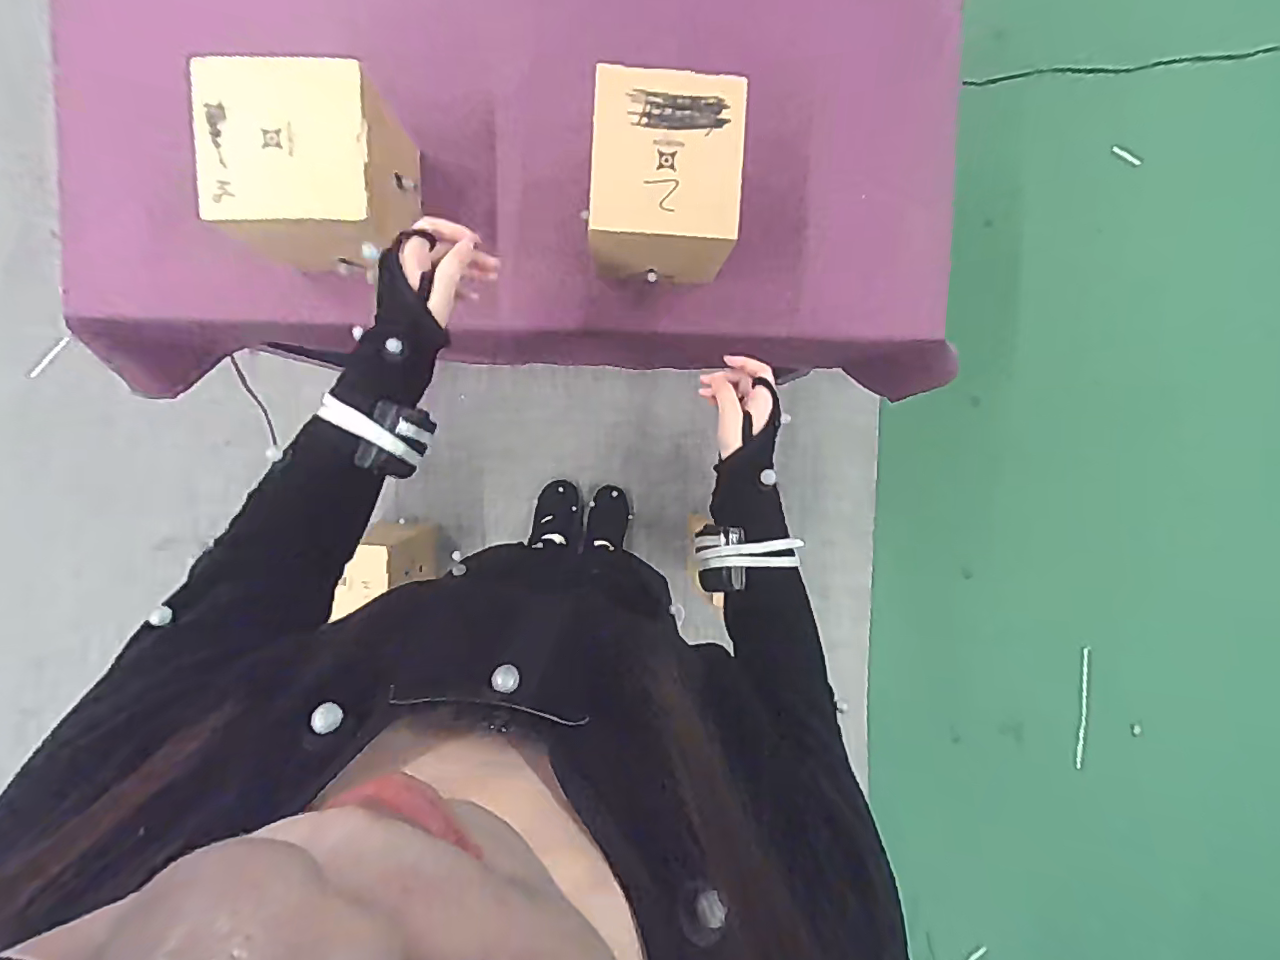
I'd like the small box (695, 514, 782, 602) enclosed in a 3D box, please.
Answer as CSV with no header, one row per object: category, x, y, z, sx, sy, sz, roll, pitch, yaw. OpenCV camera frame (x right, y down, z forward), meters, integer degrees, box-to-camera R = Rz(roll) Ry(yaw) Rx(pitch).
small box,0.228,0.182,1.290,0.168,0.176,0.179,1,94,-5

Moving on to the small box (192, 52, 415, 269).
small box,-0.379,-0.363,0.646,0.179,0.176,0.168,-1,93,-4

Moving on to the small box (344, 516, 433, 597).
small box,-0.647,0.194,1.401,0.168,0.176,0.179,2,93,-4

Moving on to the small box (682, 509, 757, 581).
small box,0.209,0.171,1.452,0.179,0.176,0.168,-1,94,-4

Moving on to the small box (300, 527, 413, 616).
small box,-0.642,0.202,1.236,0.179,0.176,0.168,3,94,-4
